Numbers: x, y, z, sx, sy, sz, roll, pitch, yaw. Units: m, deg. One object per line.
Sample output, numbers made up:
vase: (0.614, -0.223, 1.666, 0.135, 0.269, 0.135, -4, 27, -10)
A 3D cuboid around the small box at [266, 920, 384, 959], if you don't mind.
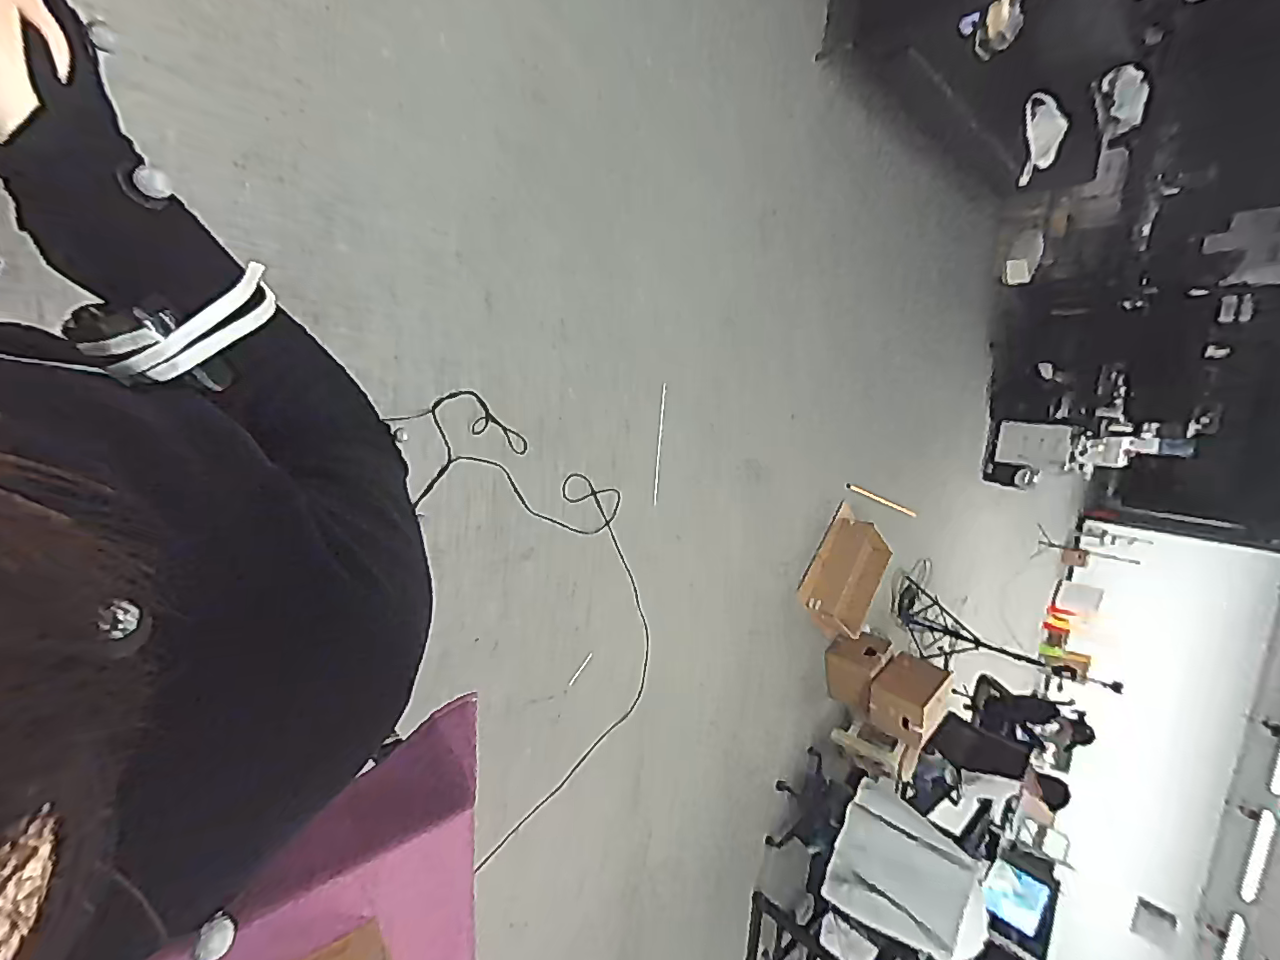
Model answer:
small box: (-0.457, 0.780, 0.763, 0.168, 0.176, 0.179, -3, 102, -43)
